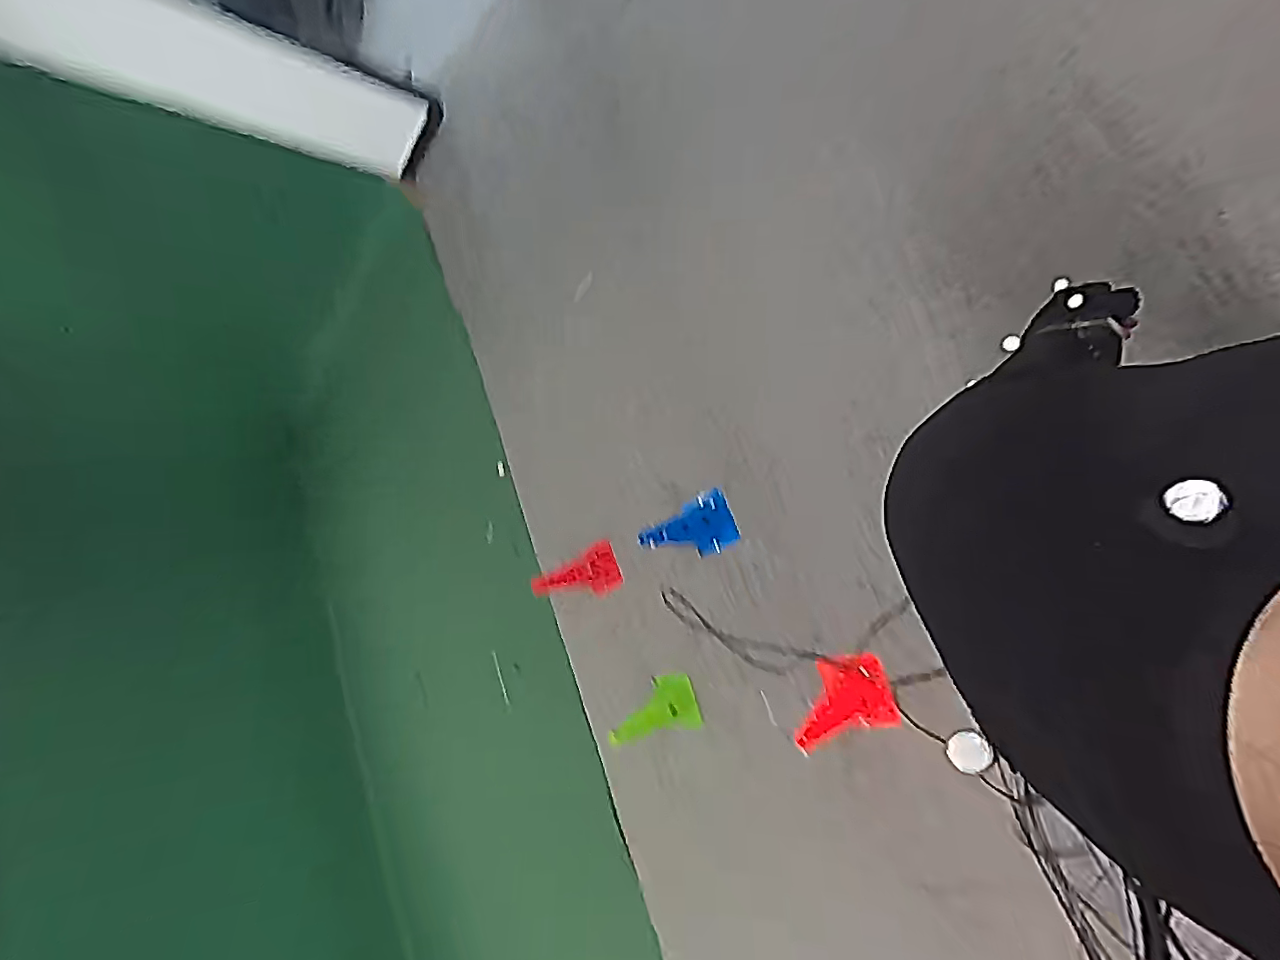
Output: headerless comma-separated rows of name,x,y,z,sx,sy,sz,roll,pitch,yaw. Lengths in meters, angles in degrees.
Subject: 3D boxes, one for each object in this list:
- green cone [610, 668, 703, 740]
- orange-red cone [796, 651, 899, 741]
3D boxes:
green cone,0.031,0.849,1.957,0.202,0.368,0.200,-26,78,41
orange-red cone,0.525,0.619,1.469,0.199,0.360,0.198,-24,78,44
